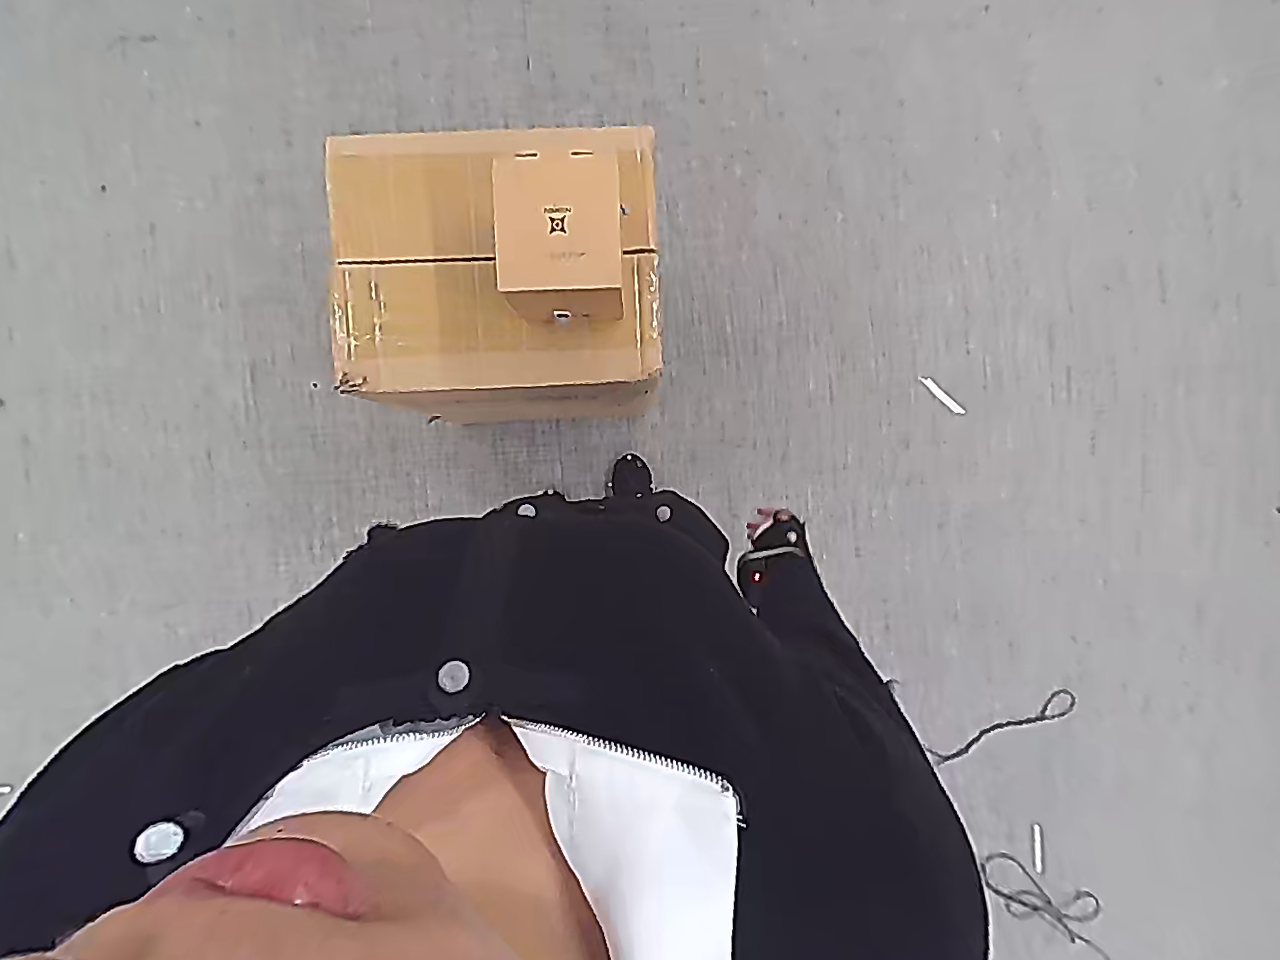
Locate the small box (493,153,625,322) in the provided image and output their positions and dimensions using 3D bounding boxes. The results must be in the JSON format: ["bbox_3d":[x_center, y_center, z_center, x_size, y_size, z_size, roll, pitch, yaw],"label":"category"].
[{"bbox_3d":[-0.108,-0.339,0.784,0.168,0.176,0.179,-3,93,0],"label":"small box"}]
